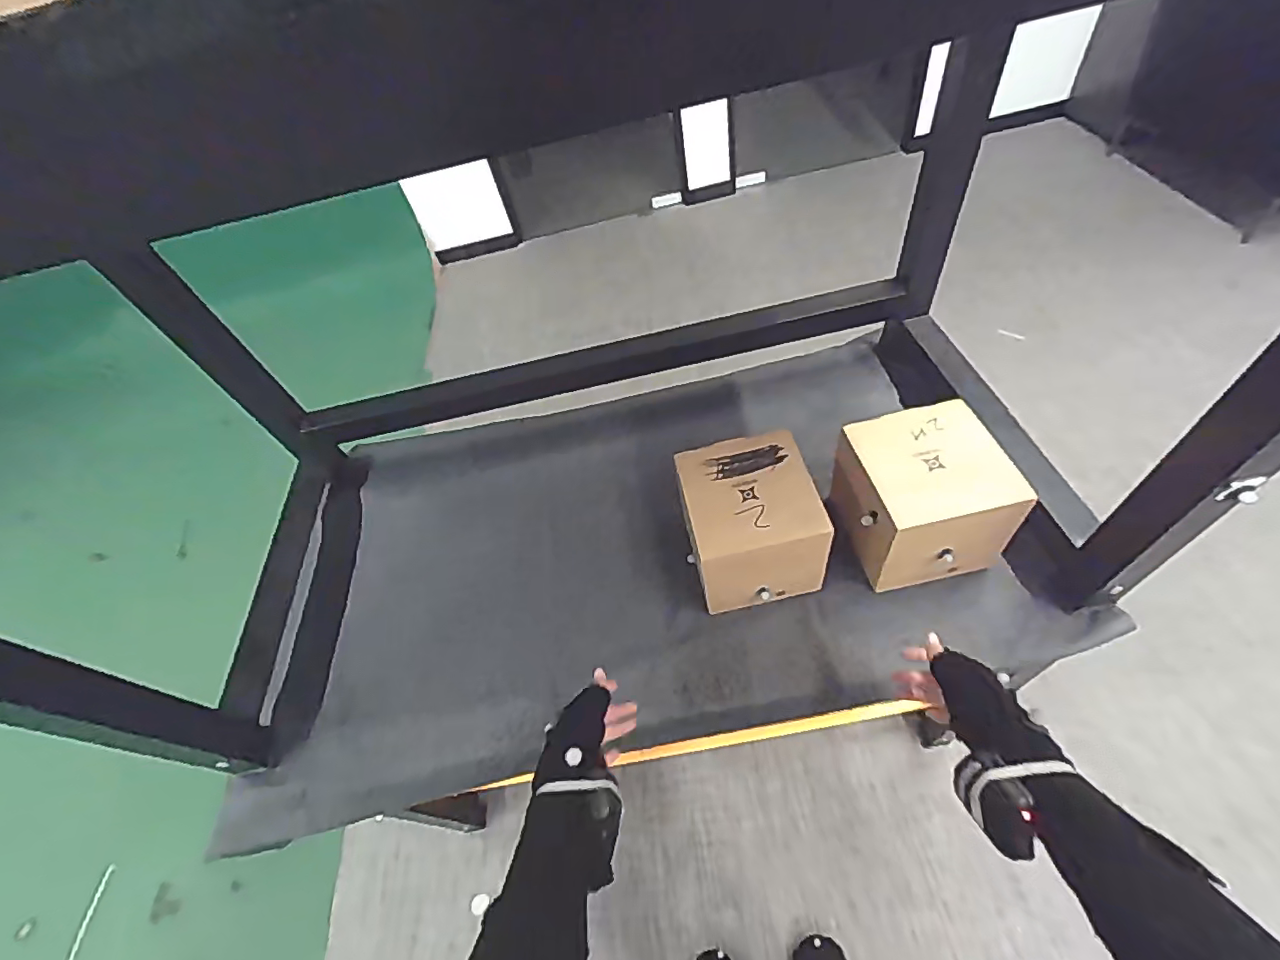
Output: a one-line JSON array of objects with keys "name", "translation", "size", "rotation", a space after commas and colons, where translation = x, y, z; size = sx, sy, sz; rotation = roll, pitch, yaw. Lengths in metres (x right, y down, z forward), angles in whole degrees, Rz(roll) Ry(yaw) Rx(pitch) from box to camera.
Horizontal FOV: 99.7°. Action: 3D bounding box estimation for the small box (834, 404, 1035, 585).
[{"name": "small box", "translation": [0.382, 0.029, 0.742], "size": [0.168, 0.176, 0.179], "rotation": [-13, 51, 2]}]
